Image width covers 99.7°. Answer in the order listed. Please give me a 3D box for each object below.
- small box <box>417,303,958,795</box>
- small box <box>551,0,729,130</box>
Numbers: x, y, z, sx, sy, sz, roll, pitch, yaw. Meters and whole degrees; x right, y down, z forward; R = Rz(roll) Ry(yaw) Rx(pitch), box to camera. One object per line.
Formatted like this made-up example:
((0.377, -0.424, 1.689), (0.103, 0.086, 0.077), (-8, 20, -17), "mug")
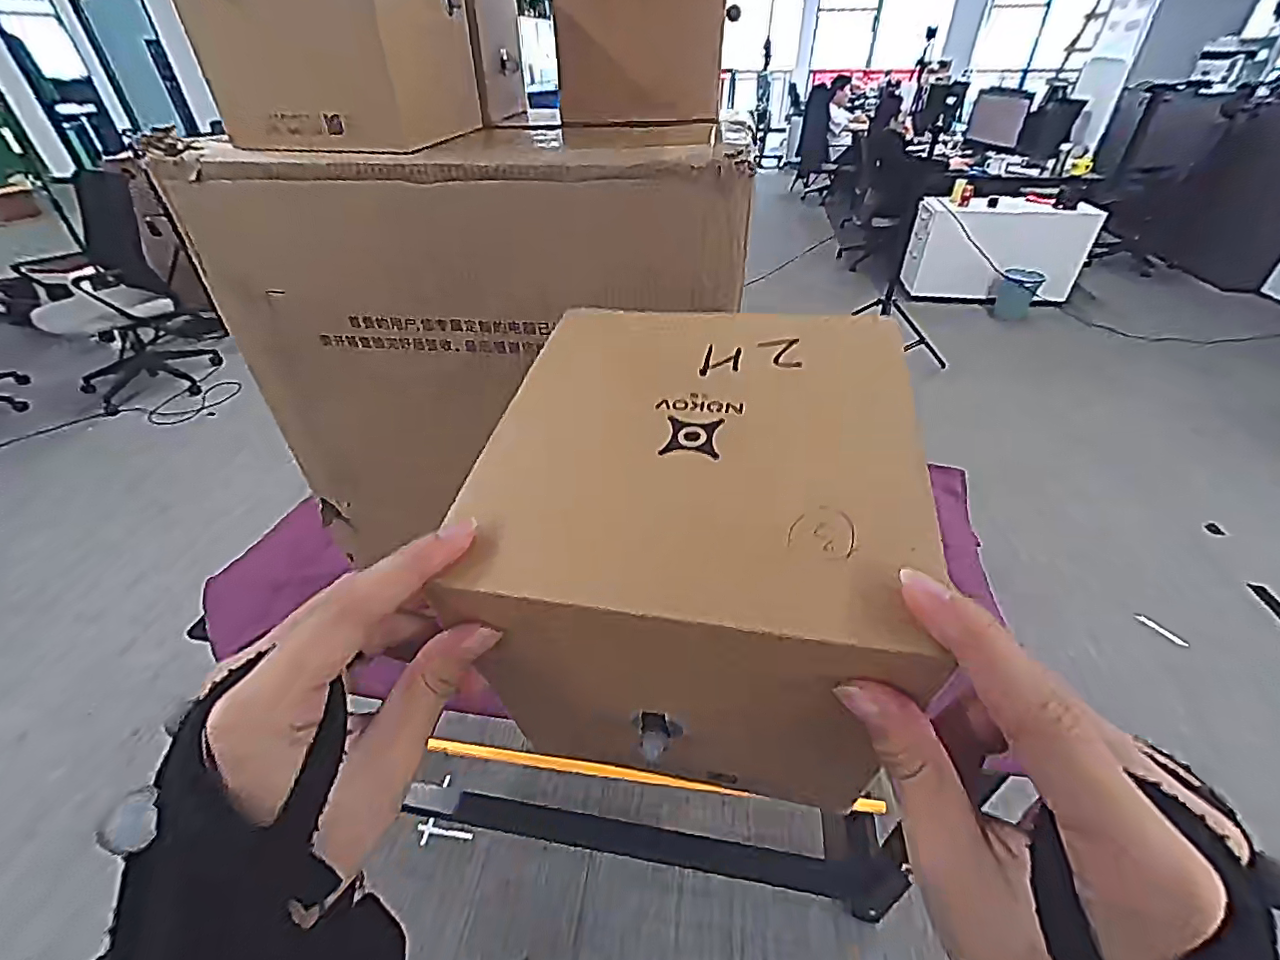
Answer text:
((0.031, 0.031, 0.270), (0.168, 0.176, 0.179), (5, 47, 12), "small box")
((0.008, -0.499, 0.598), (0.179, 0.176, 0.168), (3, 38, 7), "small box")
